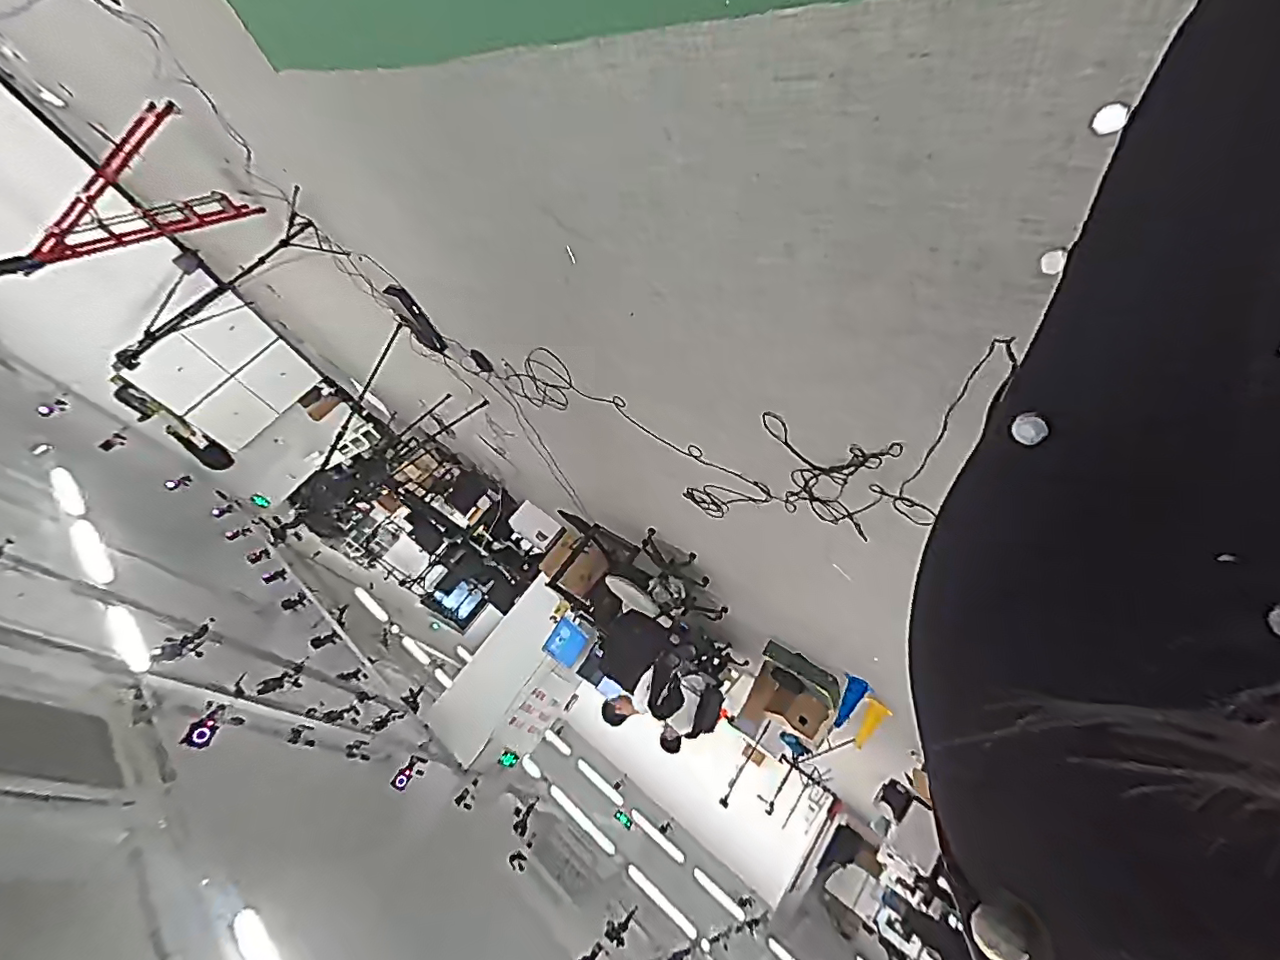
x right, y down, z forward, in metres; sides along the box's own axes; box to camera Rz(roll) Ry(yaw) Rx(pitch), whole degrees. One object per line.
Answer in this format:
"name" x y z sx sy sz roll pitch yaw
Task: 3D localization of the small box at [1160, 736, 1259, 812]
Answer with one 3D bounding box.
"small box" 2.001 1.026 1.902 0.179 0.176 0.168 25 158 32
